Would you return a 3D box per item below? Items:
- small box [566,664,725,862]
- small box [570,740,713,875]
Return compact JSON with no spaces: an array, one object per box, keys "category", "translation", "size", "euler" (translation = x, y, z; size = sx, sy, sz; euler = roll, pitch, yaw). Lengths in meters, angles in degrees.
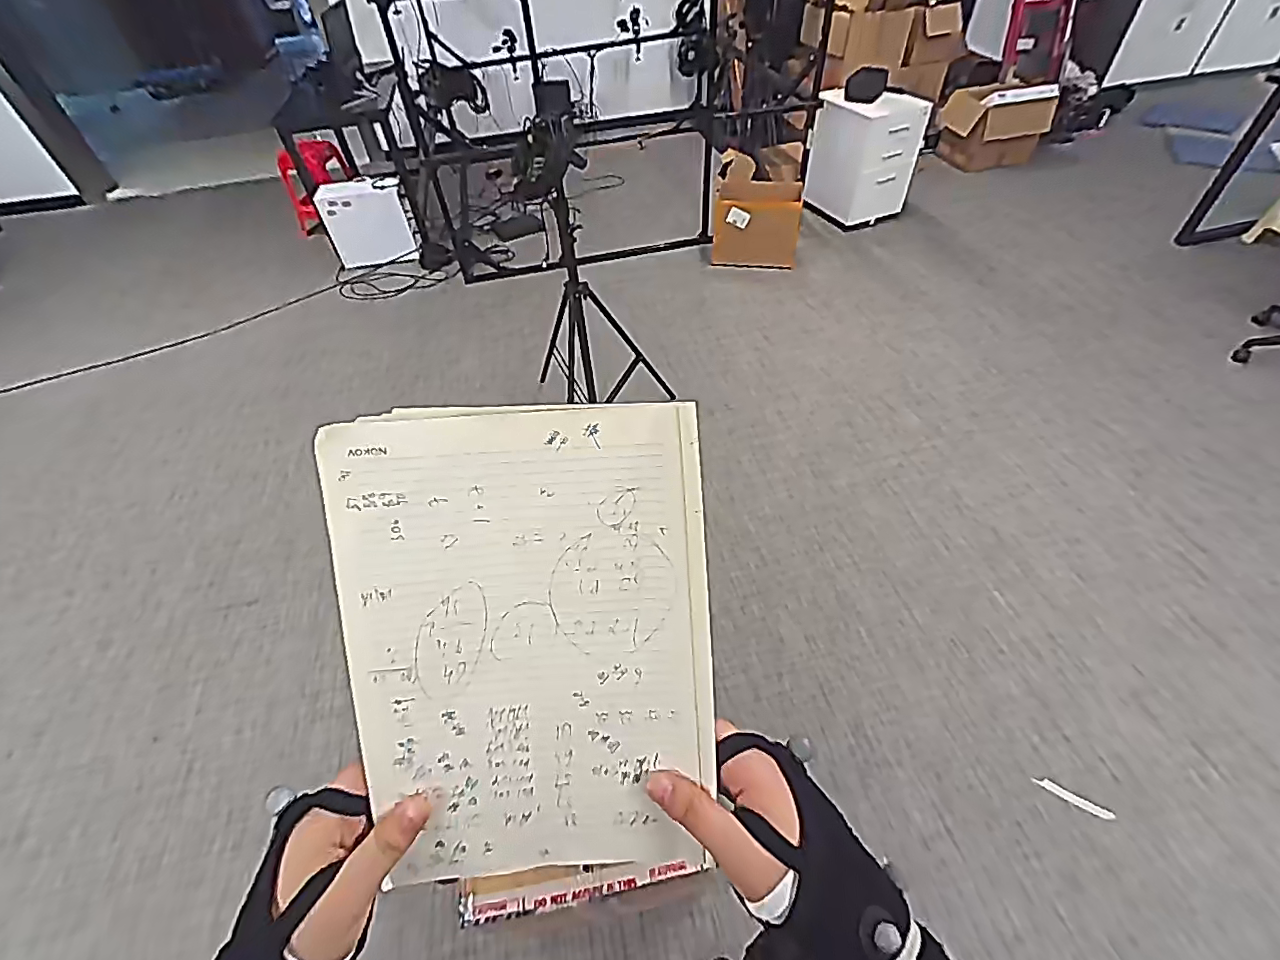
[{"category":"small box","translation":[-0.001,0.369,0.704],"size":[0.168,0.176,0.179],"euler":[-9,50,-7]},{"category":"small box","translation":[-0.001,0.478,0.827],"size":[0.179,0.176,0.168],"euler":[-12,49,-9]}]
